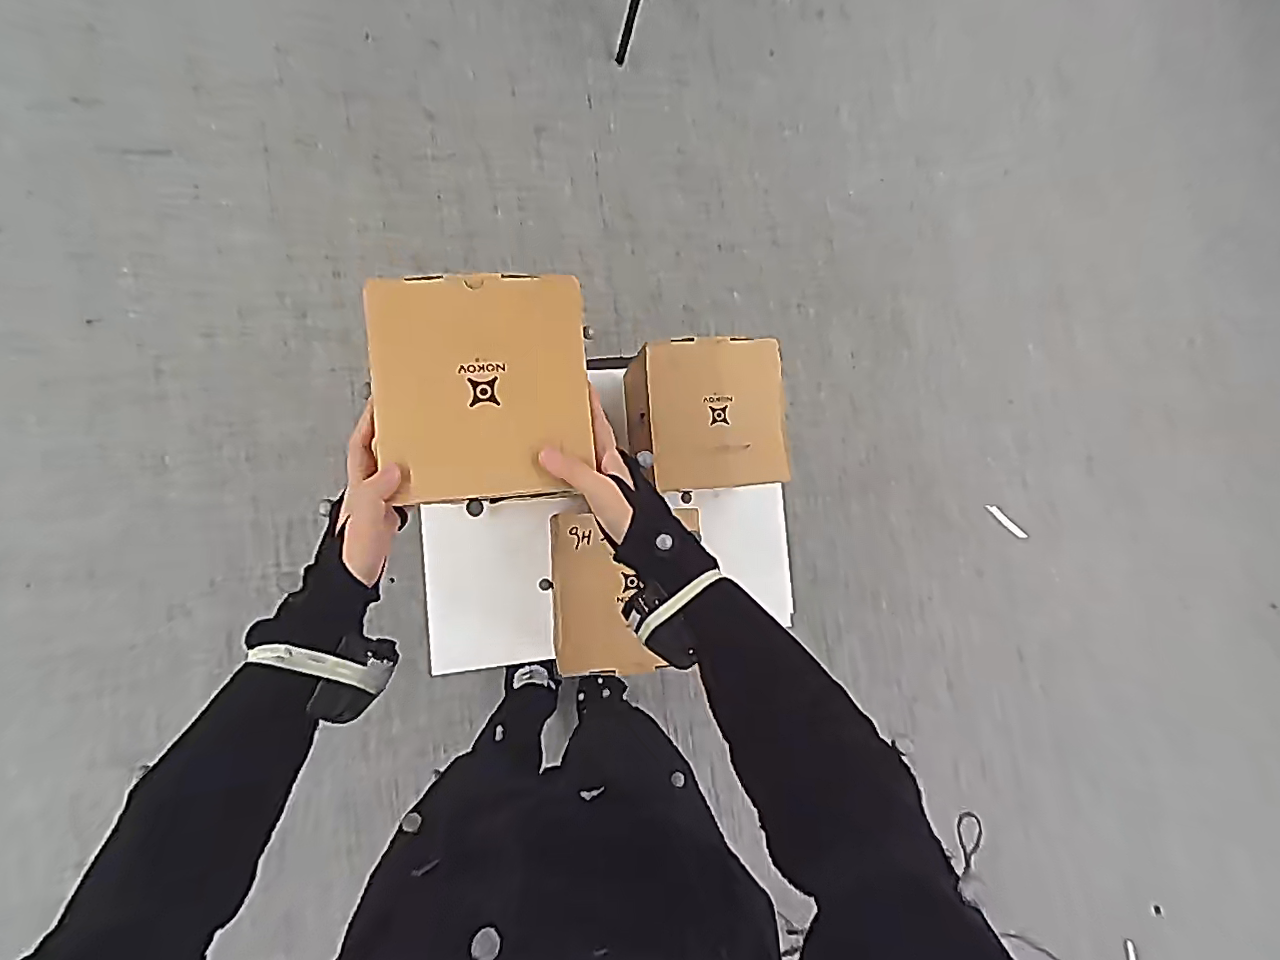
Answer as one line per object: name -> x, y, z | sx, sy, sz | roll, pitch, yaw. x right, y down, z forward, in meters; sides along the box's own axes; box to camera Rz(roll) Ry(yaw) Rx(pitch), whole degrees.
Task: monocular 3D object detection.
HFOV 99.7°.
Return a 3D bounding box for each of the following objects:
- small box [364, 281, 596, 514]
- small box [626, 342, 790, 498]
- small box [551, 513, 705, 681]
small box -> -0.137, -0.065, 0.500 | 0.168, 0.176, 0.179 | -6, 88, -12
small box -> 0.078, -0.070, 0.711 | 0.168, 0.176, 0.179 | -5, 89, -10
small box -> -0.024, 0.132, 0.673 | 0.168, 0.176, 0.179 | -2, 86, -12
